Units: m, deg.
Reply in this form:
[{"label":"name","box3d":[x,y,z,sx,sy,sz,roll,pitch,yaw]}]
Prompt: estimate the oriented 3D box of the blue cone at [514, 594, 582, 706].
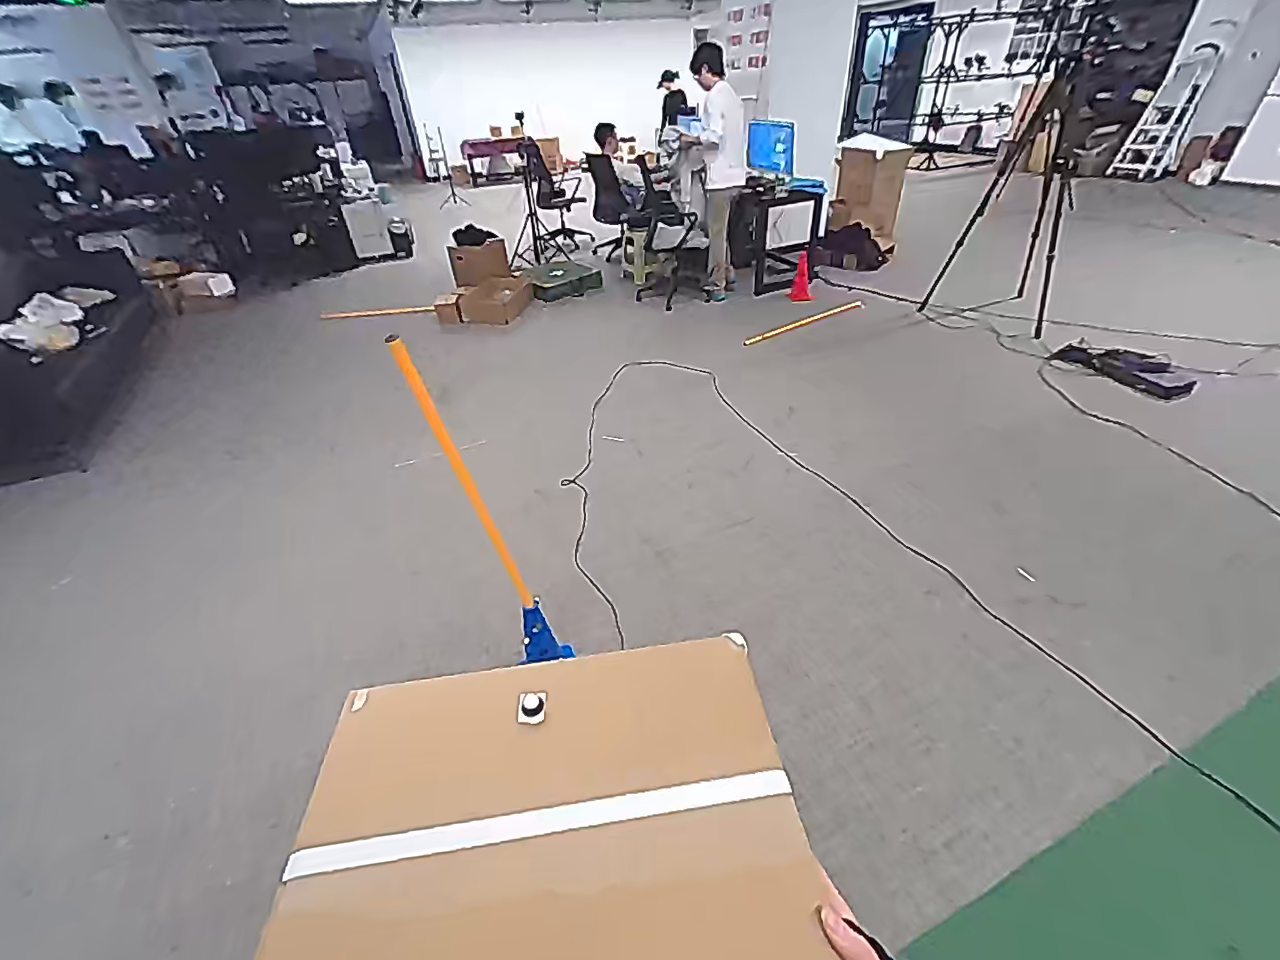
[{"label":"blue cone","box3d":[-0.306,0.488,1.625,0.193,0.380,0.192,-20,39,-18]}]
